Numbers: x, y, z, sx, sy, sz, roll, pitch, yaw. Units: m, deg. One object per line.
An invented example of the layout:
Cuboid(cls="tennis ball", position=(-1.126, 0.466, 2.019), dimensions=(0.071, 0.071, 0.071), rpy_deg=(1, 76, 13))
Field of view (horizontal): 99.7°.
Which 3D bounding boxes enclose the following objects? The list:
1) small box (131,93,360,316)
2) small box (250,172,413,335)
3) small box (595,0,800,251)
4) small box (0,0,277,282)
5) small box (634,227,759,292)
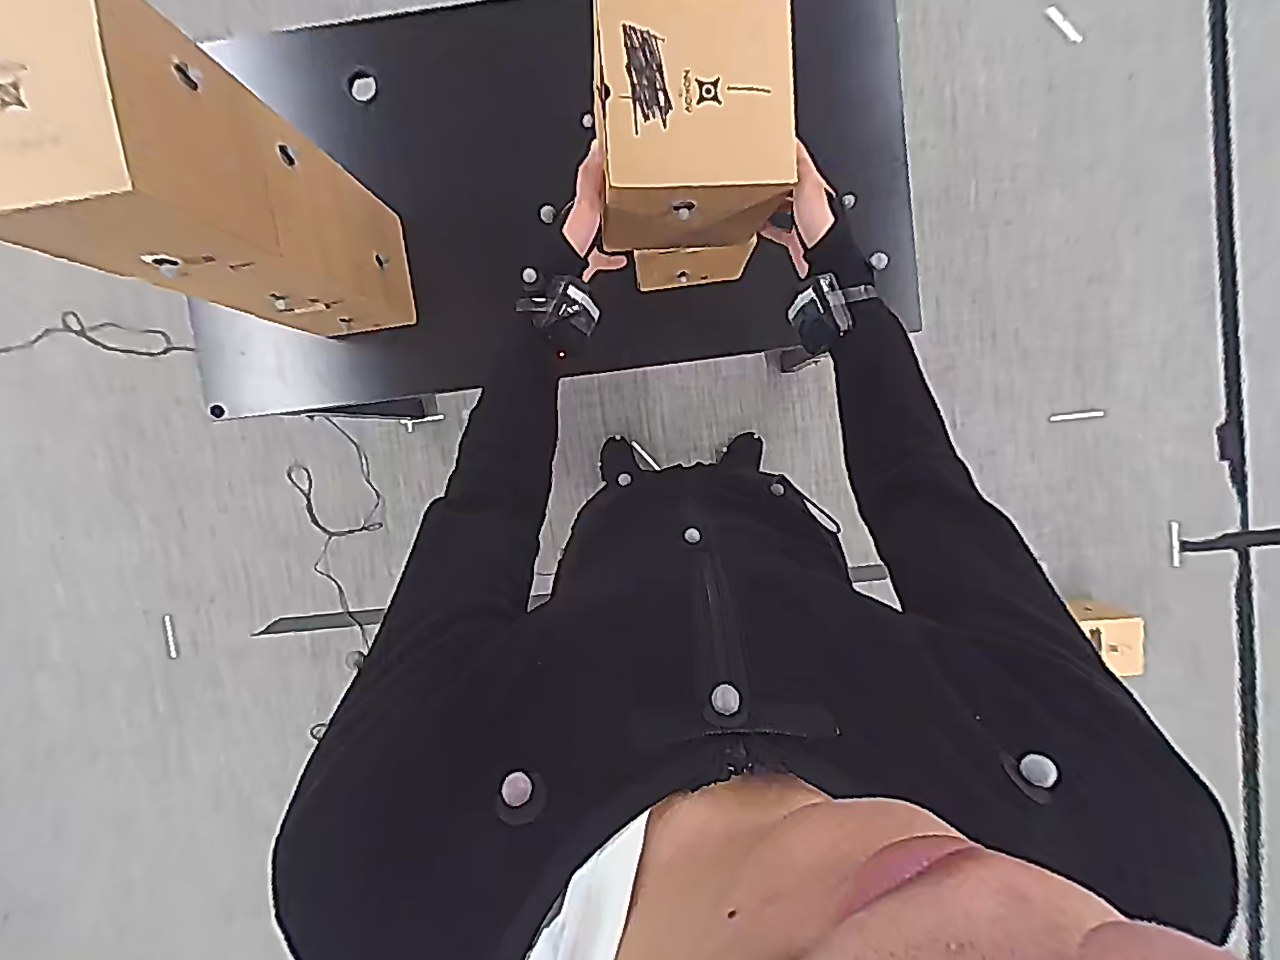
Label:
Cuboid(cls="small box", position=(-0.467, -0.311, 0.646), dimensions=(0.168, 0.176, 0.179), rpy_deg=(-8, 94, 3))
Cuboid(cls="small box", position=(-0.463, -0.322, 0.810), dimensions=(0.168, 0.176, 0.179), rpy_deg=(-9, 95, 2))
Cuboid(cls="small box", position=(0.046, -0.345, 0.552), dimensions=(0.179, 0.176, 0.168), rpy_deg=(-4, 95, -5))
Cuboid(cls="small box", position=(-0.470, -0.298, 0.484), dimensions=(0.168, 0.176, 0.179), rpy_deg=(-8, 95, 3))
Cuboid(cls="small box", position=(0.069, -0.394, 0.792), dimensions=(0.168, 0.176, 0.179), rpy_deg=(-7, 95, 2))
